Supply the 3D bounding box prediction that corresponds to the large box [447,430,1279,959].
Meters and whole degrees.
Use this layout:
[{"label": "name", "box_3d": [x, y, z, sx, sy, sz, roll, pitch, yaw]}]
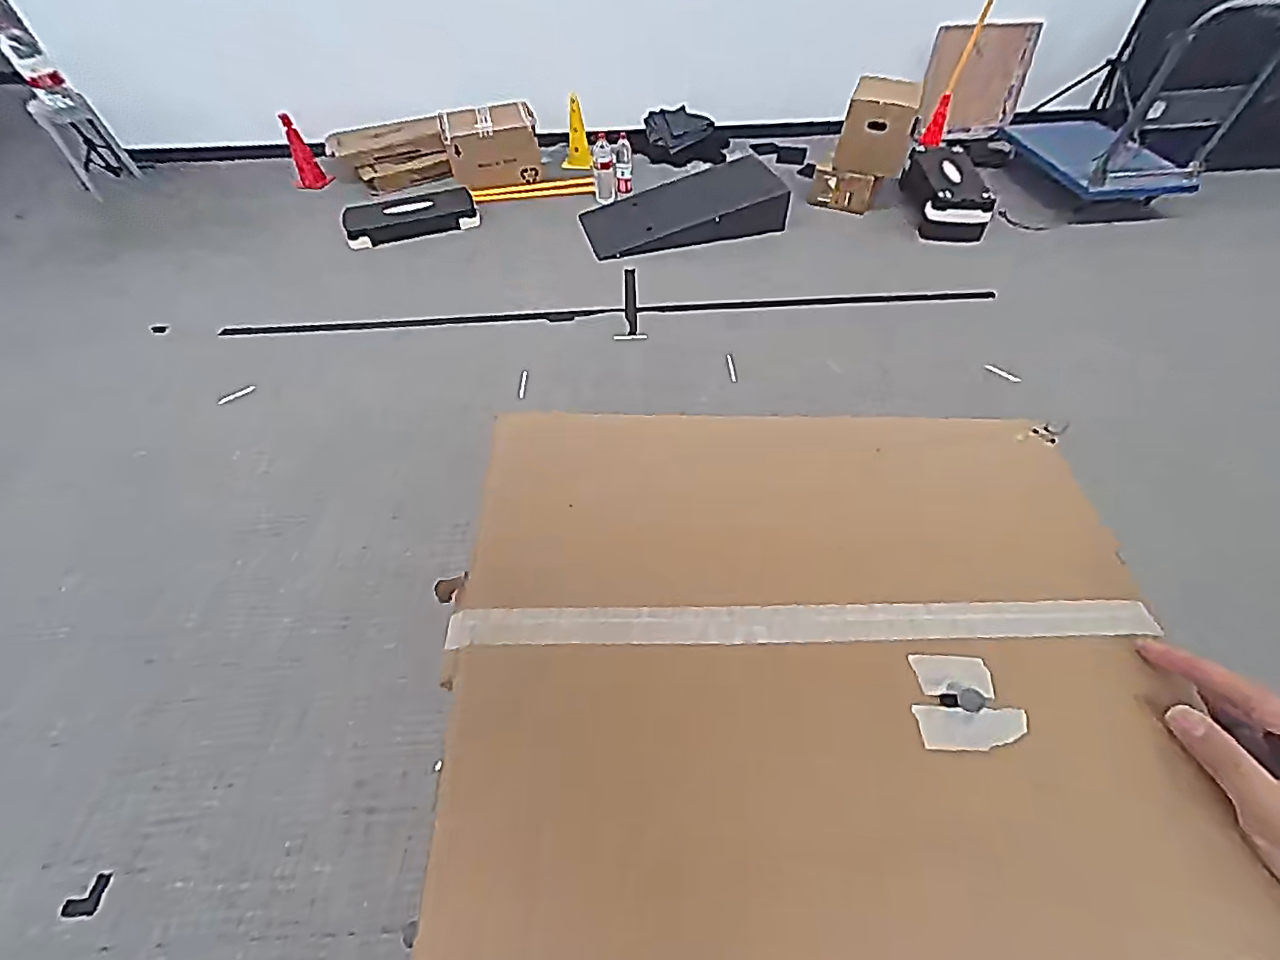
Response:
[{"label": "large box", "box_3d": [0.095, 0.172, 0.449, 0.408, 0.320, 0.320, 0, 57, -4]}]
